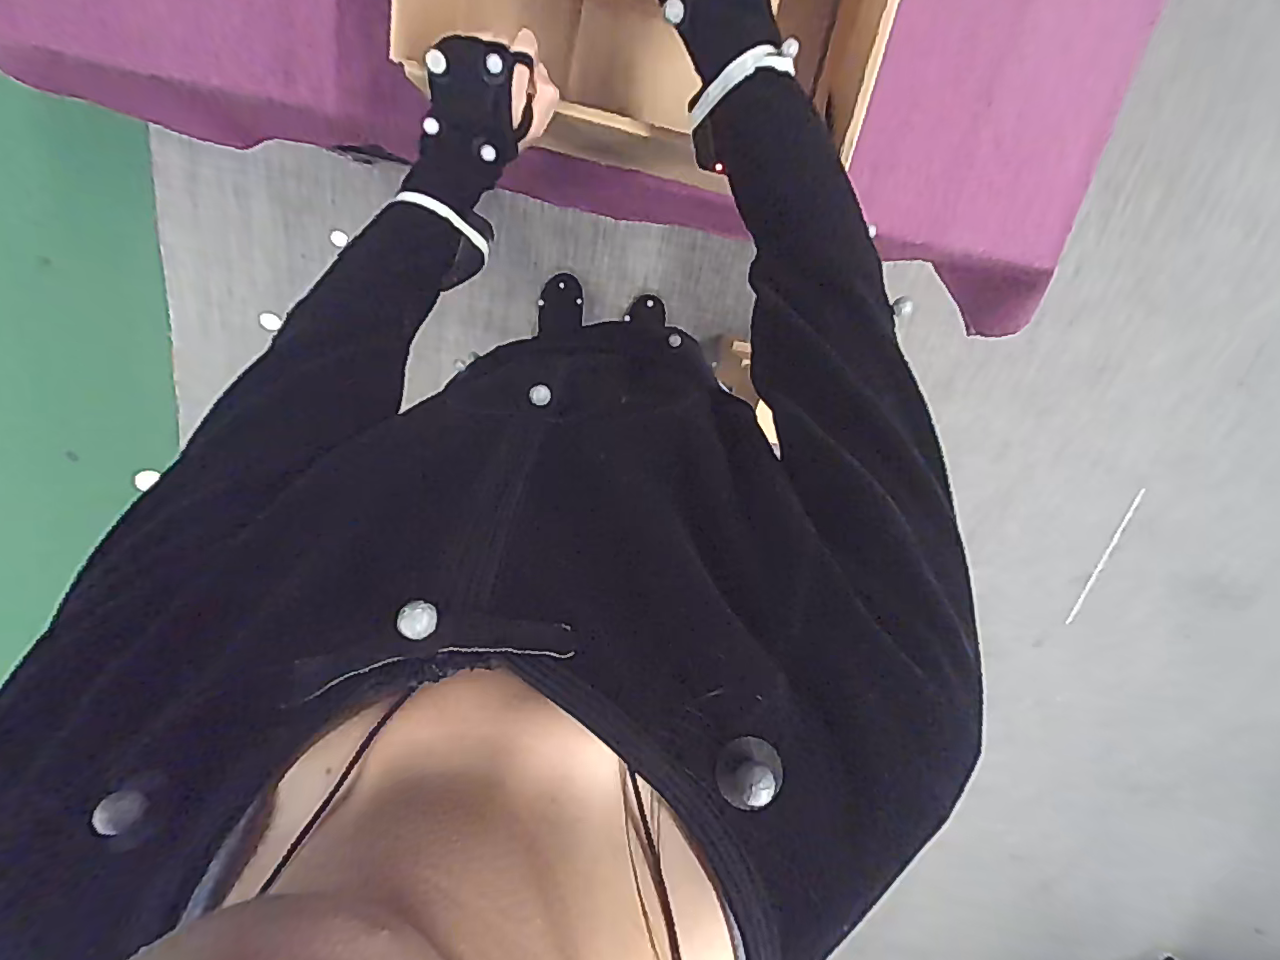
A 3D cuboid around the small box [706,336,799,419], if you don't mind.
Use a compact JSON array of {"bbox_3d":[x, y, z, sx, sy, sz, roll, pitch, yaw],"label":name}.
[{"bbox_3d":[0.280,-0.268,1.385,0.179,0.176,0.168,9,110,-5],"label":"small box"}]
